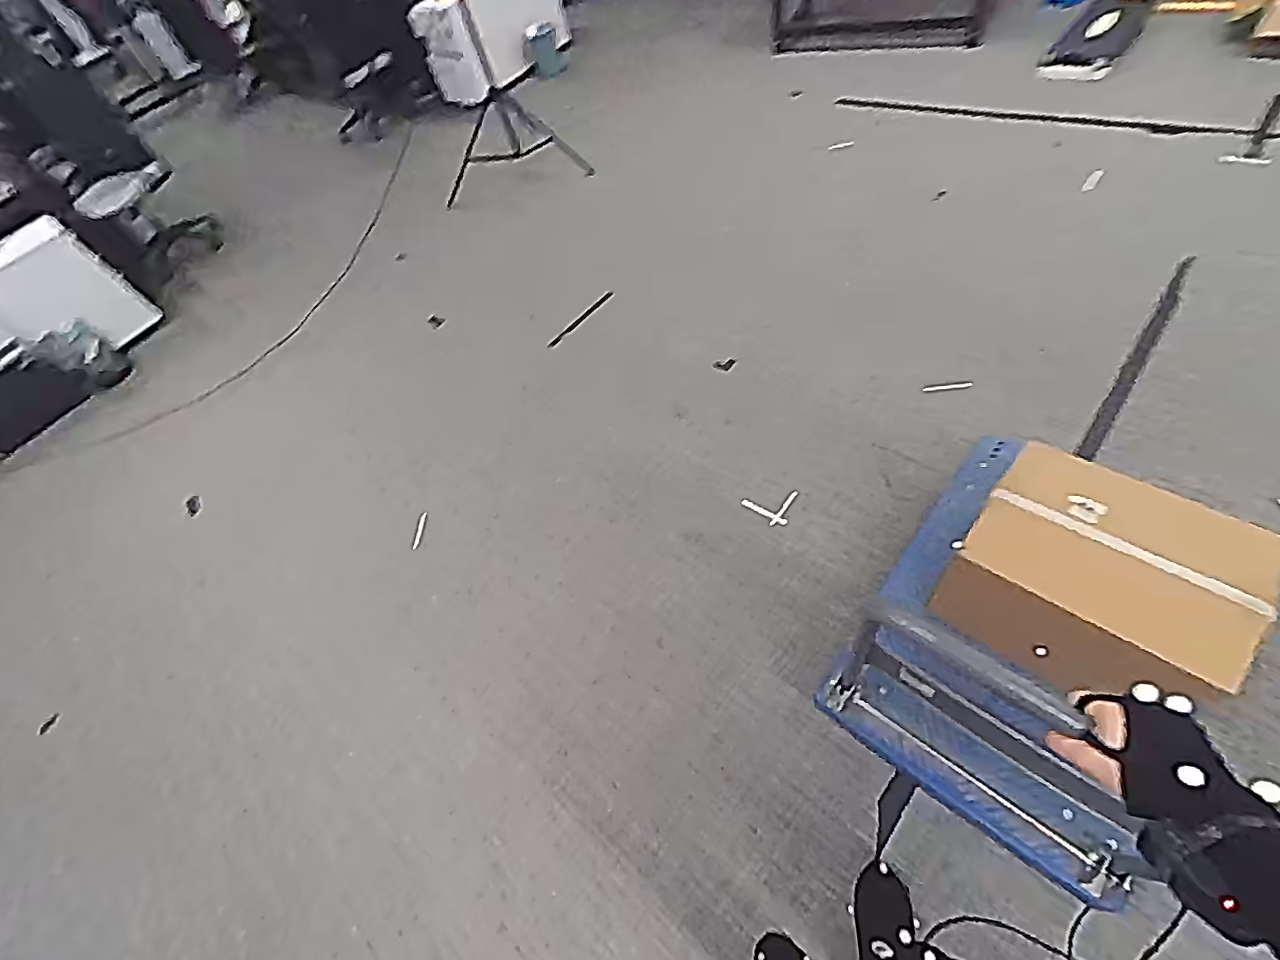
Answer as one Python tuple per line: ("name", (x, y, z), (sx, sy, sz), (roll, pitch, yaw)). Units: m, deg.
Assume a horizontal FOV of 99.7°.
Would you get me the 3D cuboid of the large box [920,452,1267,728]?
("large box", (0.851, 0.215, 1.080), (0.408, 0.320, 0.320), (31, 68, 32))
